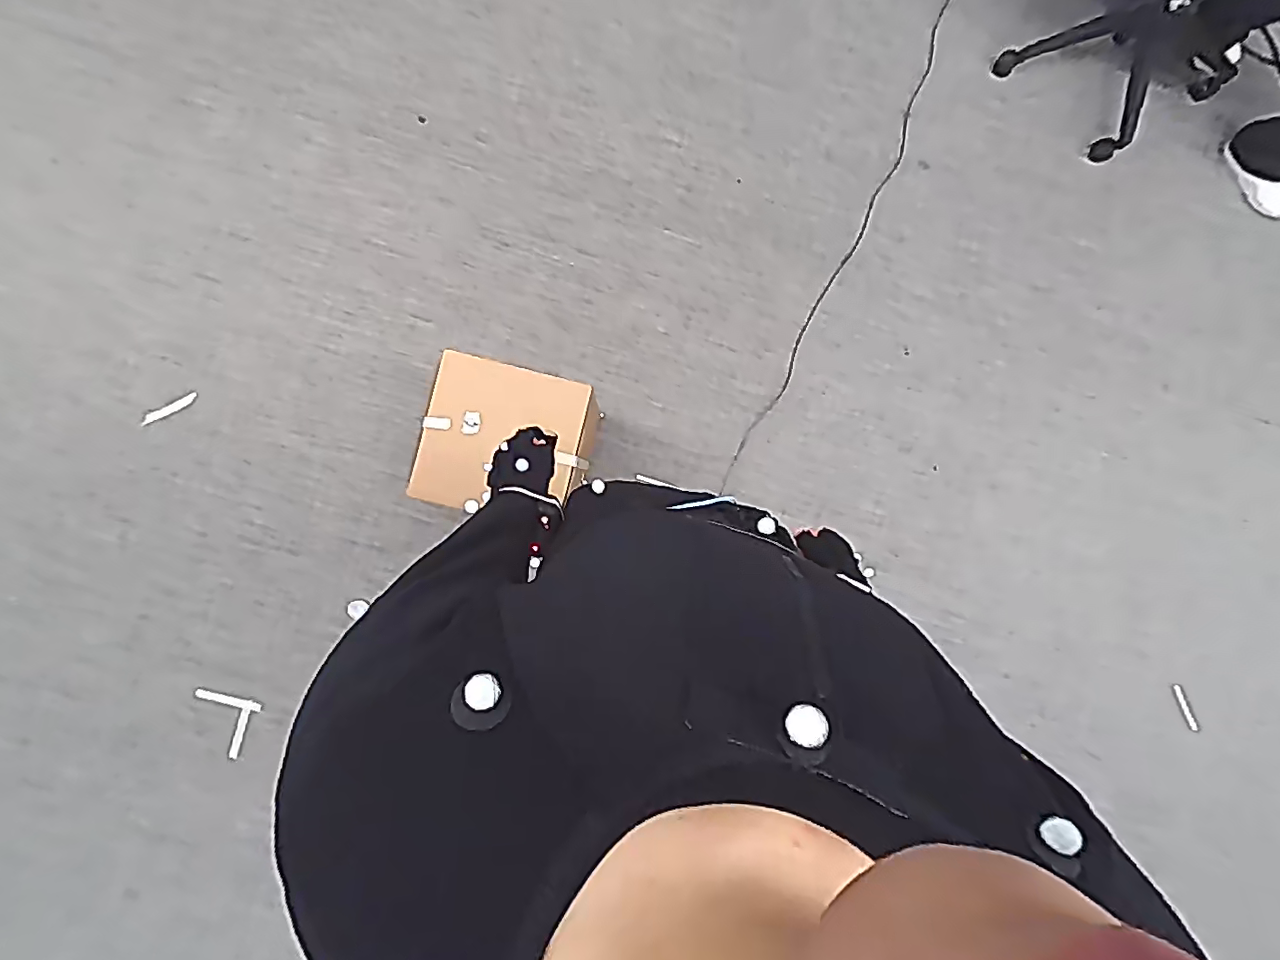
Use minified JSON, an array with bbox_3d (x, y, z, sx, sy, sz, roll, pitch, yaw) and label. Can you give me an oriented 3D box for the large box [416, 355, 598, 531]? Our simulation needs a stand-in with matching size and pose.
[{"bbox_3d":[-0.291,-0.083,1.297,0.320,0.408,0.320,15,90,-3],"label":"large box"}]
